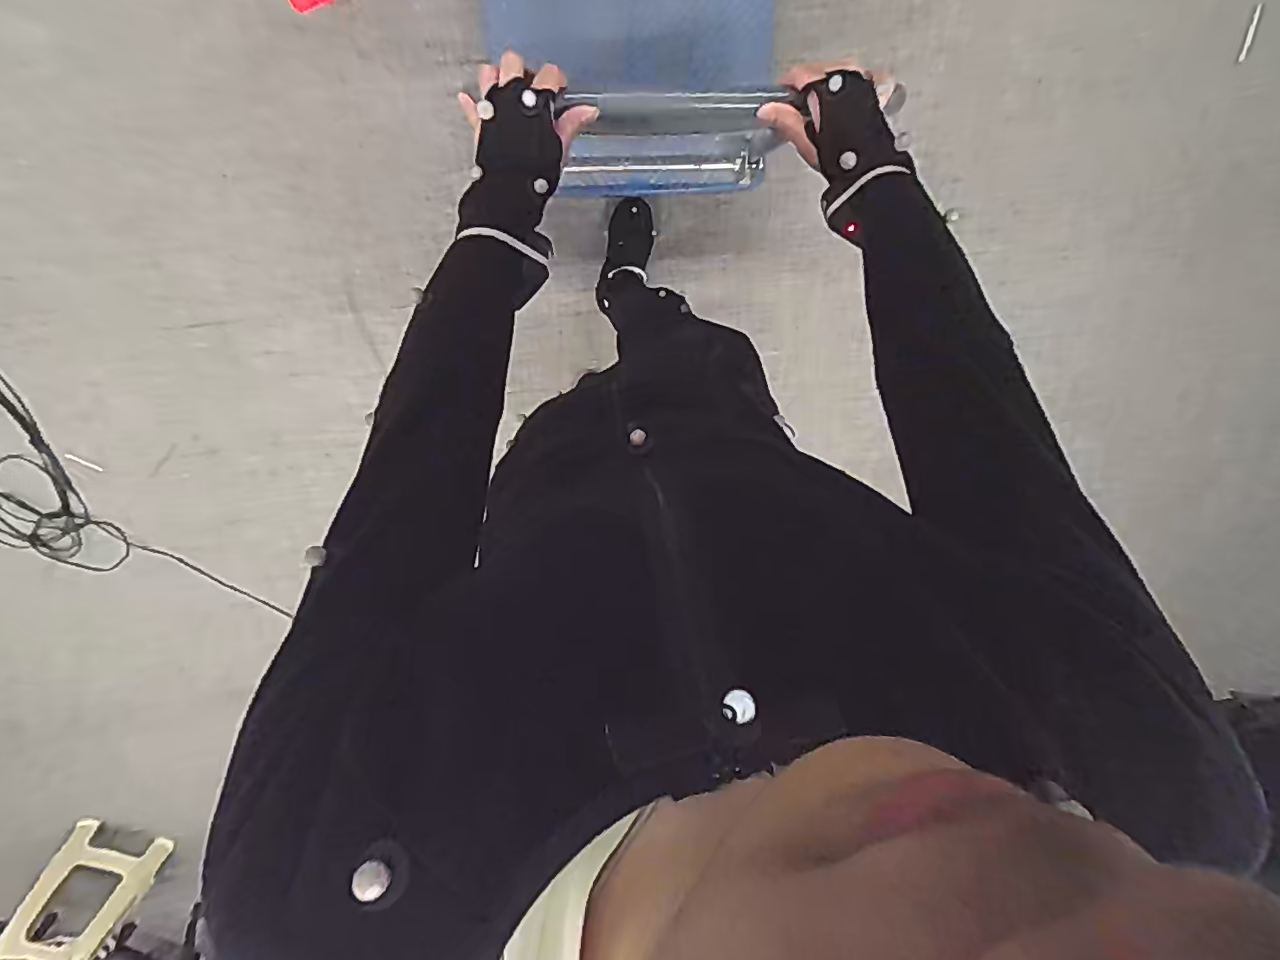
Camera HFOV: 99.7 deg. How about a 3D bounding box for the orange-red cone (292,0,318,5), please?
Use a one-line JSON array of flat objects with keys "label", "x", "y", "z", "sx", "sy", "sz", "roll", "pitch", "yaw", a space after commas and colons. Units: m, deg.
[{"label": "orange-red cone", "x": -0.660, "y": -1.031, "z": 0.940, "sx": 0.199, "sy": 0.360, "sz": 0.198, "roll": -18, "pitch": 115, "yaw": 5}]
